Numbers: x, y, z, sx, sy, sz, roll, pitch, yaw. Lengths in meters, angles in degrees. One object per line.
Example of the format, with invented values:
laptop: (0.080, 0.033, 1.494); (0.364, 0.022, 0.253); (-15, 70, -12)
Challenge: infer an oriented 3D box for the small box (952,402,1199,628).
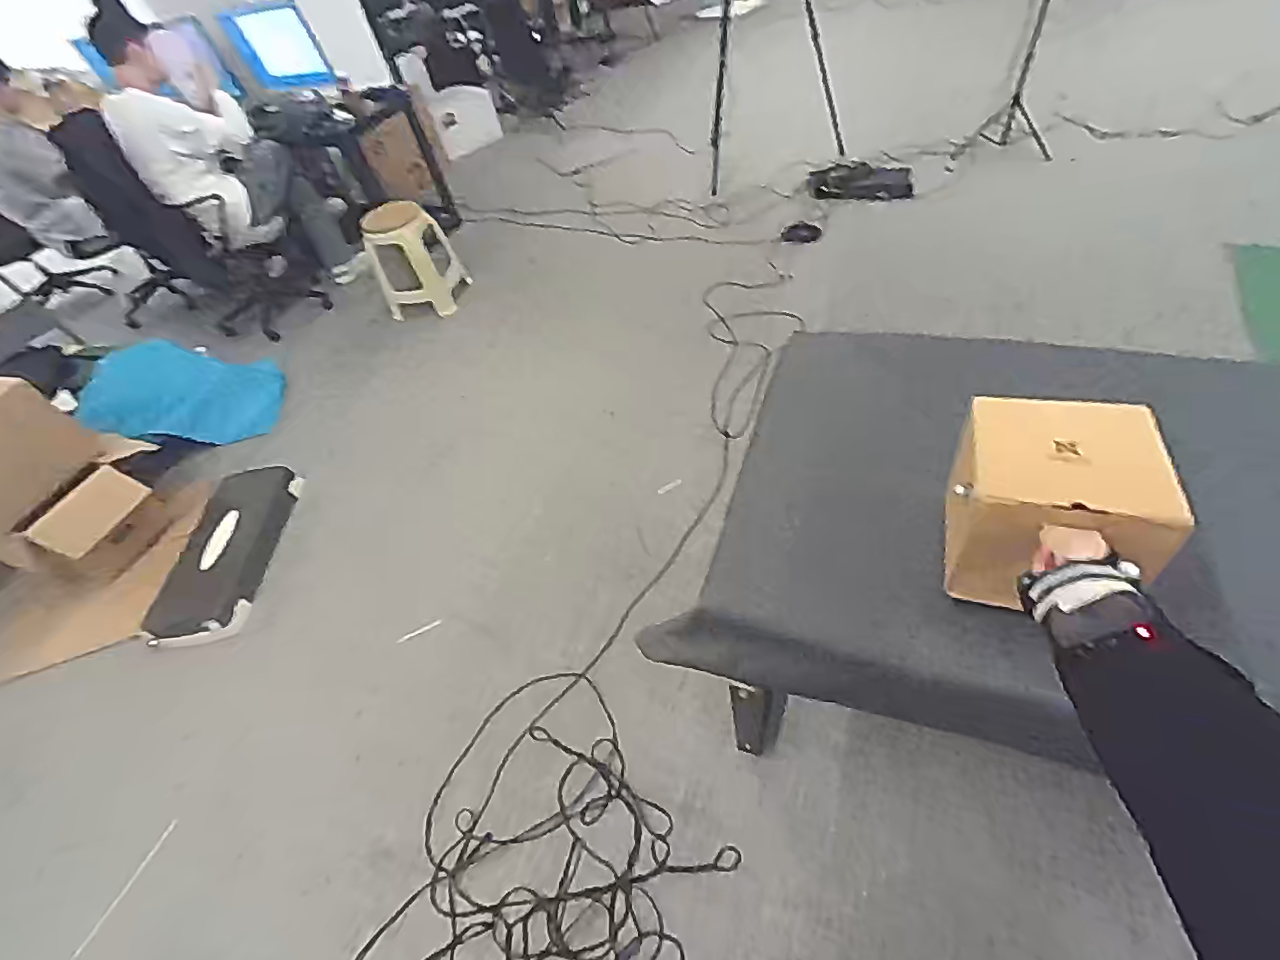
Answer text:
small box: (0.465, 0.035, 0.615); (0.168, 0.176, 0.179); (9, 46, 23)
